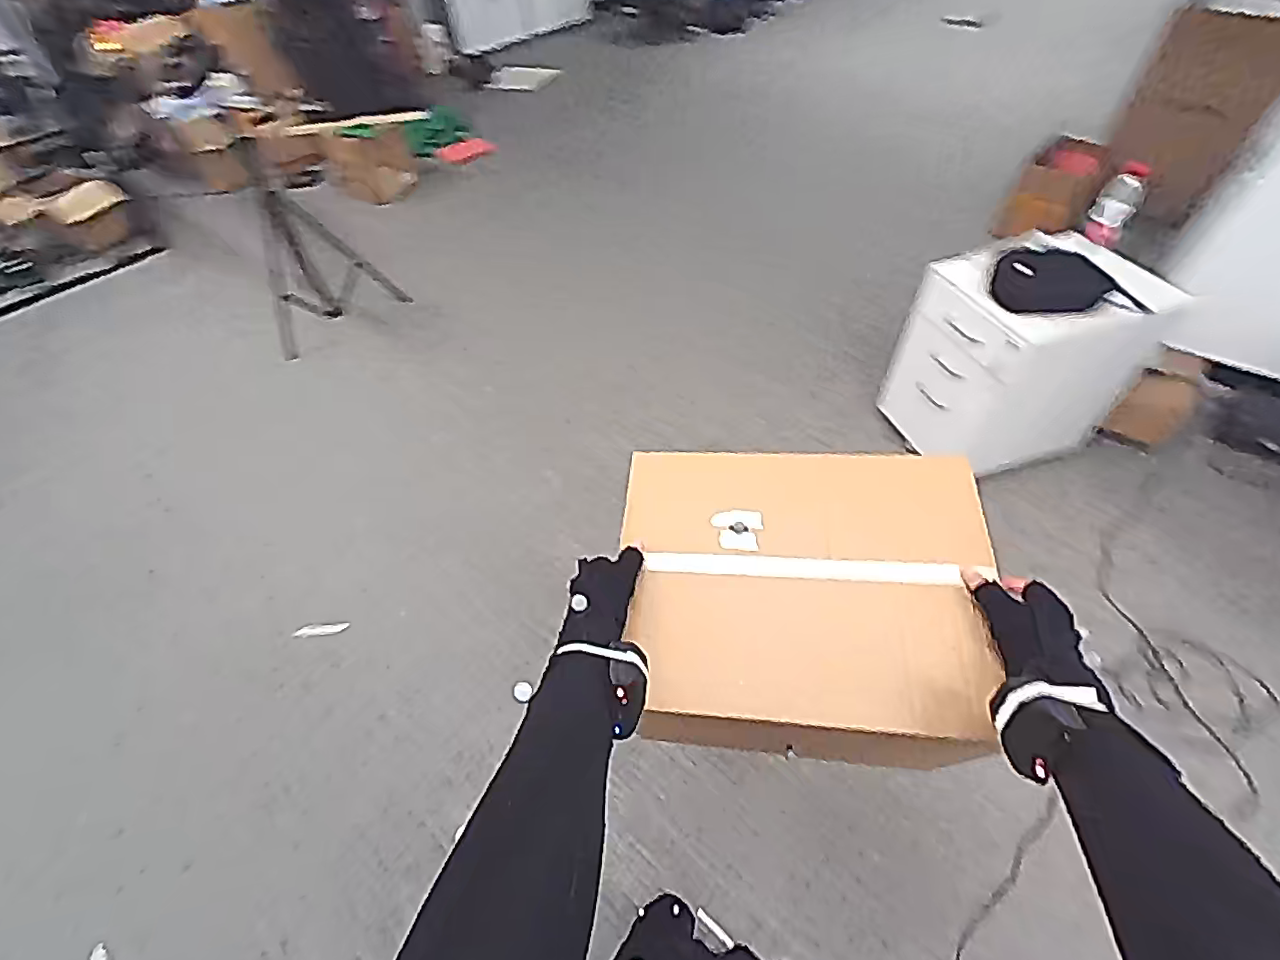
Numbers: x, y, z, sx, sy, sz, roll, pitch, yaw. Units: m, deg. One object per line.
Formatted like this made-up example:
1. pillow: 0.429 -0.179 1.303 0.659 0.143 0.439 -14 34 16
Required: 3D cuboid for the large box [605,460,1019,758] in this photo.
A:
1. large box: 0.193 0.185 0.733 0.408 0.320 0.320 0 58 10
